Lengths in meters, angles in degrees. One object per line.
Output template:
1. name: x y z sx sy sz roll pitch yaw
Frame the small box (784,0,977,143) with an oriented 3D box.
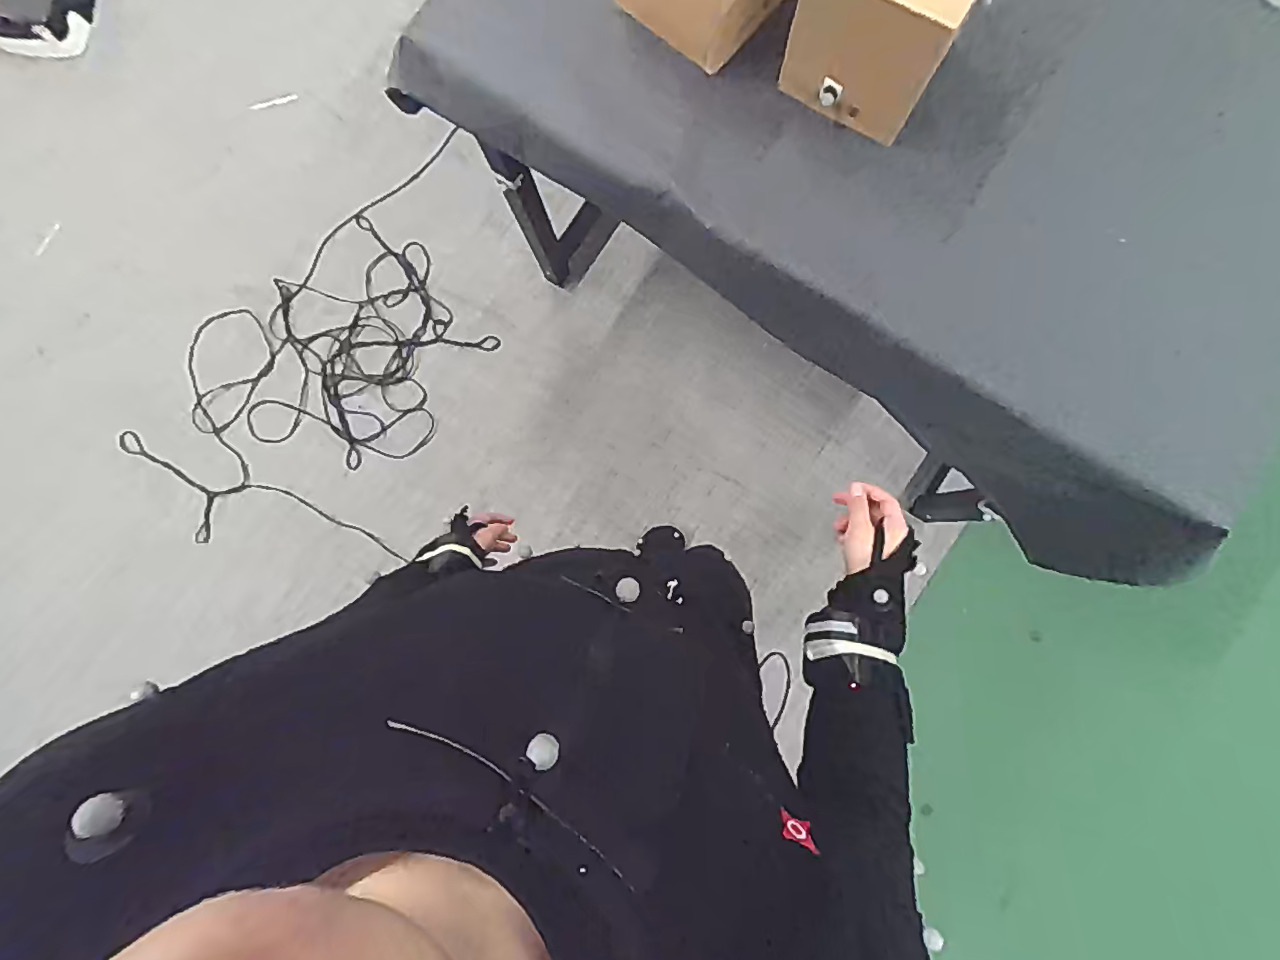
1. small box: 0.285 -0.543 0.617 0.168 0.176 0.179 30 87 5

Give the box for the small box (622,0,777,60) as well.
1. small box: 0.081 -0.649 0.632 0.179 0.176 0.168 41 87 5
